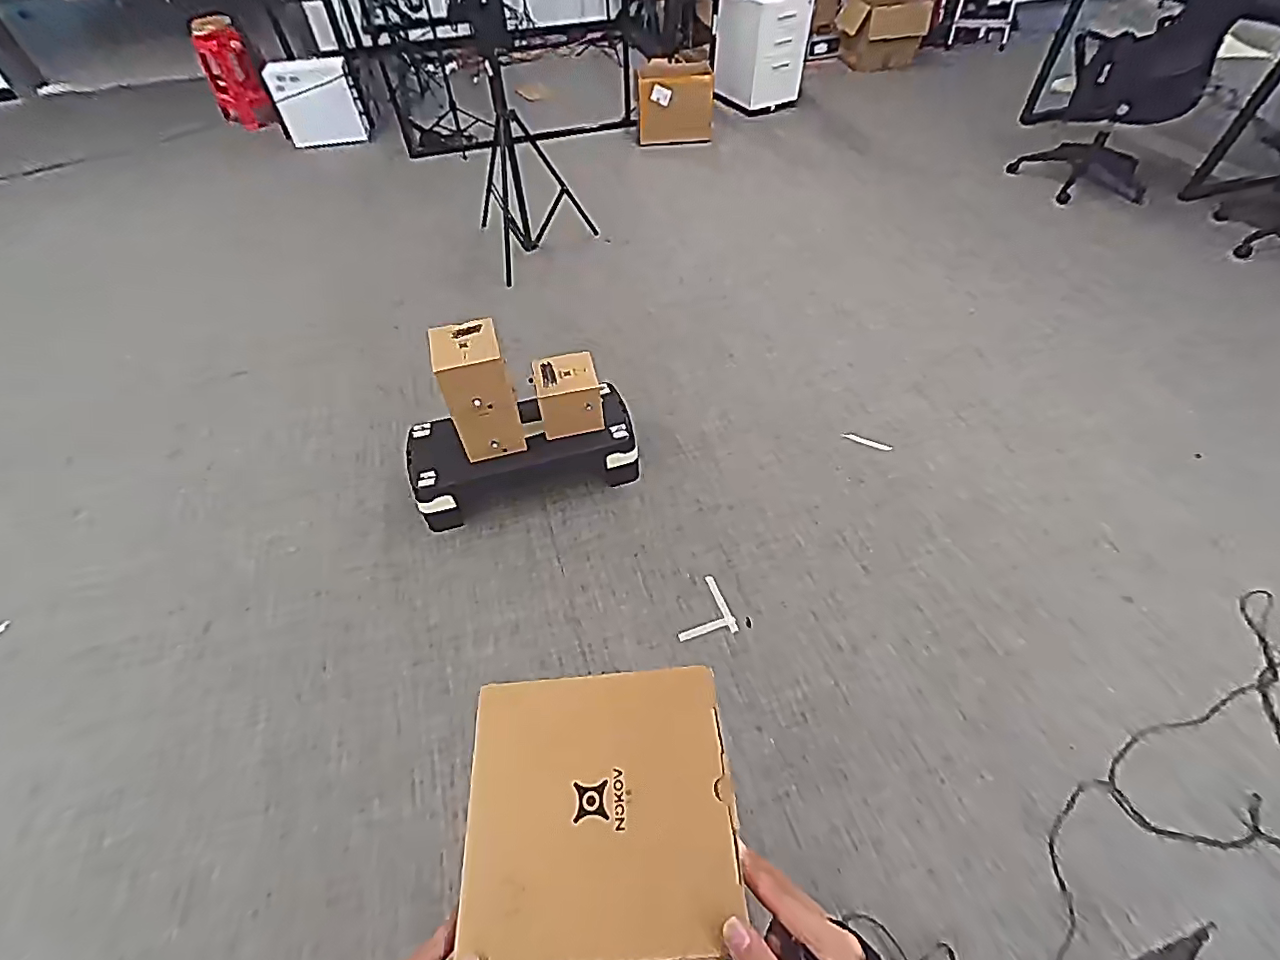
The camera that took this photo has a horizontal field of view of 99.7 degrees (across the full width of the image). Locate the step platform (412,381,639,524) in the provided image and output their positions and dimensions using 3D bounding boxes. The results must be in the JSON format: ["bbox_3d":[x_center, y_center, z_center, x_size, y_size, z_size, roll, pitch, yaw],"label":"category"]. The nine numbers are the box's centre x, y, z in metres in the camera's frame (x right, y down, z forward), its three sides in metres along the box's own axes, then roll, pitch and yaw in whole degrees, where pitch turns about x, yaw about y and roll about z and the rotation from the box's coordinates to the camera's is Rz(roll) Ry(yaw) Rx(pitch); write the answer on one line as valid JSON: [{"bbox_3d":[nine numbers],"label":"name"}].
[{"bbox_3d":[-0.353,-0.098,1.708,0.684,0.204,0.286,-15,52,-10],"label":"step platform"}]

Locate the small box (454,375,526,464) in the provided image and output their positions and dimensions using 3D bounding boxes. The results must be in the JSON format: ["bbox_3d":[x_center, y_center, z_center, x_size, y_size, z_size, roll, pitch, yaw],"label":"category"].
[{"bbox_3d":[-0.431,-0.174,1.548,0.168,0.176,0.179,-14,52,-8],"label":"small box"}]

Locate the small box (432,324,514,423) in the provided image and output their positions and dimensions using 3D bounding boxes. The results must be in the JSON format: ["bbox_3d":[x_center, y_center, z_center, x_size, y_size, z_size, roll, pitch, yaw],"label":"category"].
[{"bbox_3d":[-0.438,-0.280,1.422,0.168,0.176,0.179,-14,53,-9],"label":"small box"}]

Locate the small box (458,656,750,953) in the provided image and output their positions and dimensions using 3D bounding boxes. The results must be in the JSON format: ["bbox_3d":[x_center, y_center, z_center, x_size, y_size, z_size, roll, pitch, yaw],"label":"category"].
[{"bbox_3d":[-0.020,0.254,0.425,0.179,0.176,0.168,-5,53,0],"label":"small box"}]
